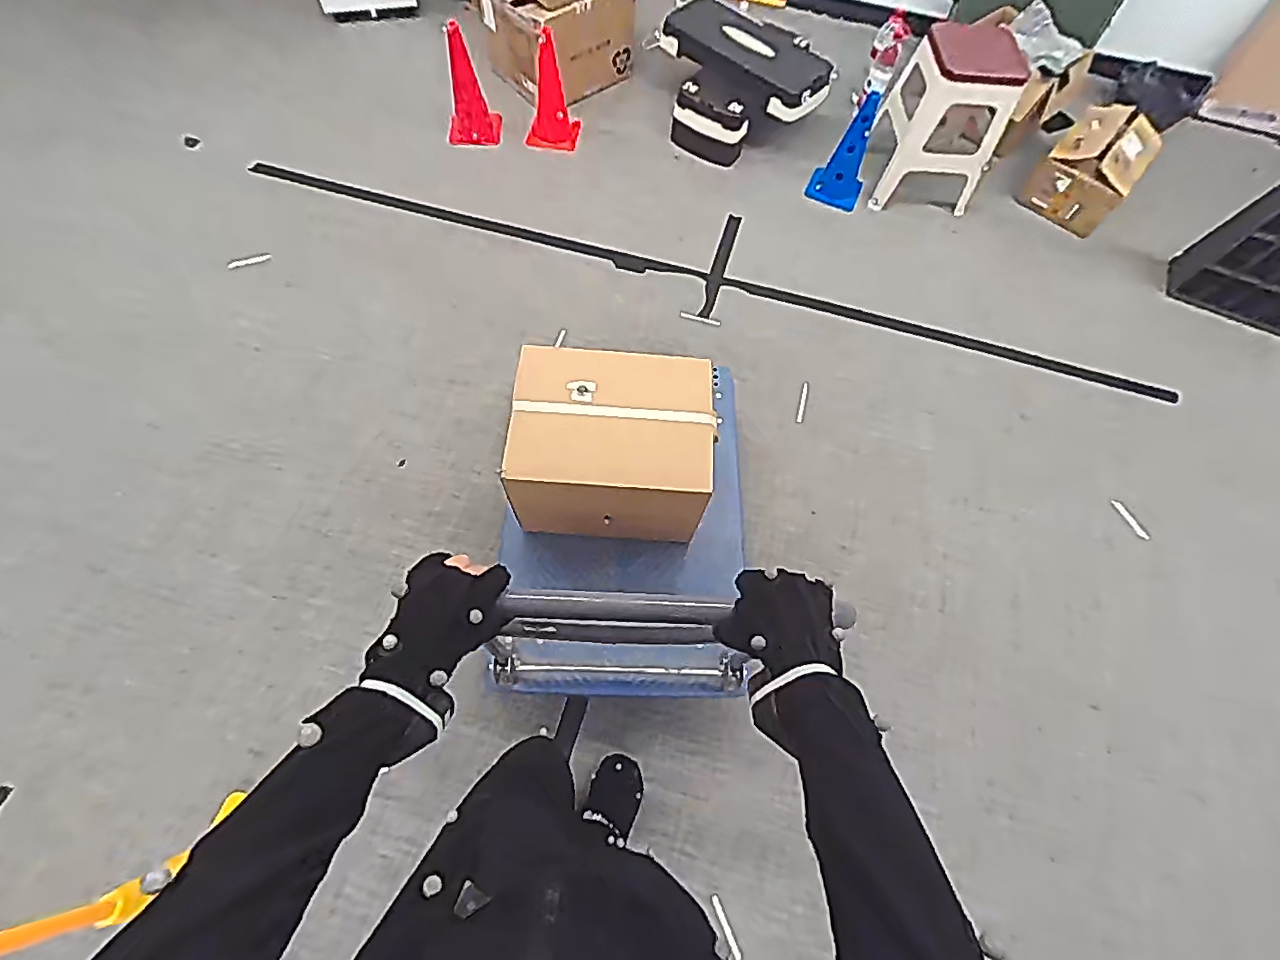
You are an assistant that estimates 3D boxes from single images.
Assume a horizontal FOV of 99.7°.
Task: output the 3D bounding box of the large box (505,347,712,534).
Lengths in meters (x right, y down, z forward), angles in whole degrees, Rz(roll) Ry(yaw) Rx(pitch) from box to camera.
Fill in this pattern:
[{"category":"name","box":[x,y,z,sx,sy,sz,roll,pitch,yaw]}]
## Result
[{"category":"large box","box":[-0.059,-0.073,1.226,0.408,0.320,0.320,4,66,-1]}]
